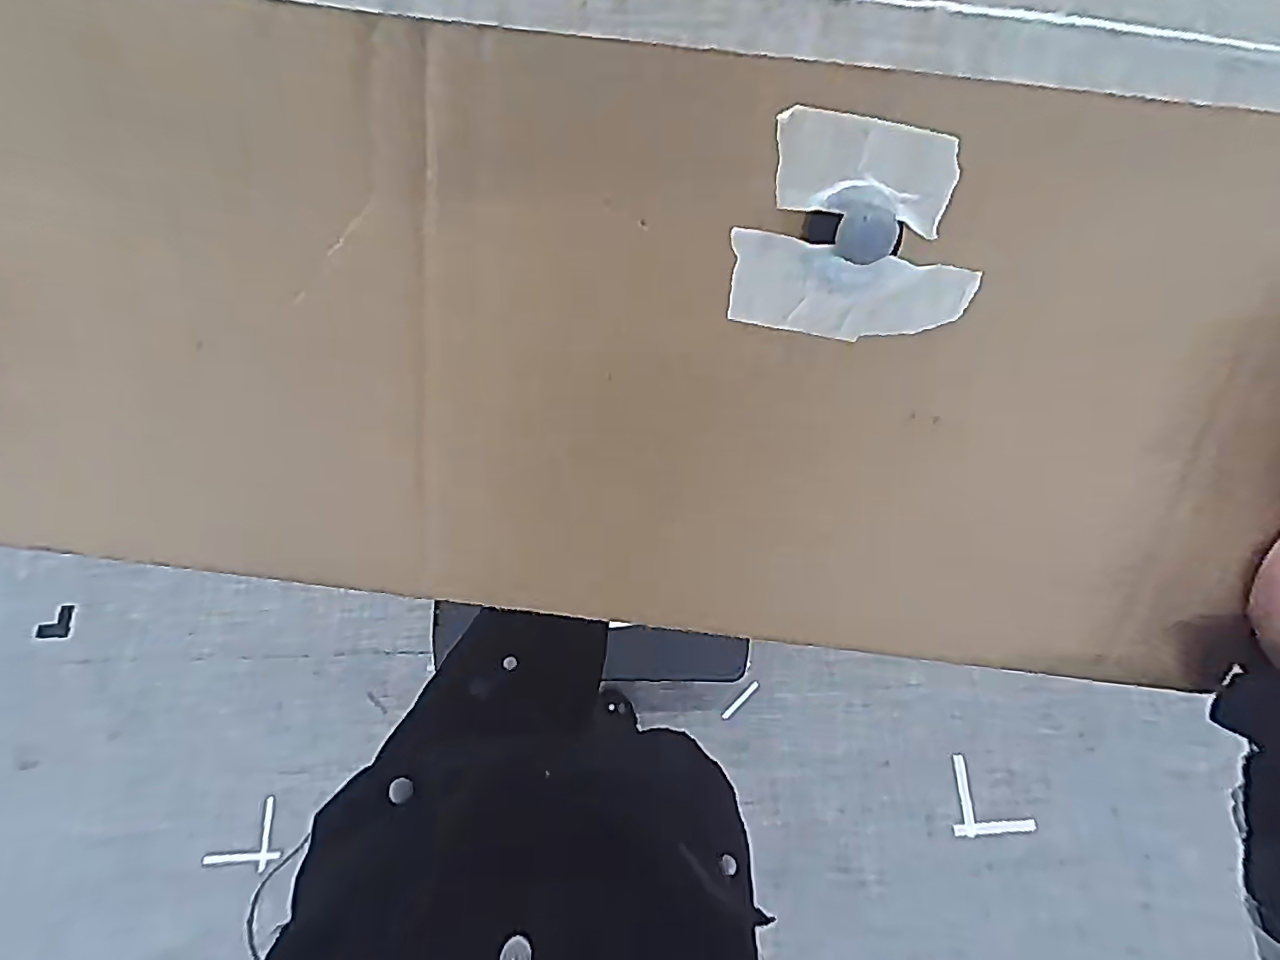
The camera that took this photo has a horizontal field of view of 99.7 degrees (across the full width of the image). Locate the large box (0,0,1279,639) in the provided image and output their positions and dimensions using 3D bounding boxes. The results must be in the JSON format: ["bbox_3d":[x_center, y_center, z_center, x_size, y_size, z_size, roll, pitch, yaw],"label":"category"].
[{"bbox_3d":[-0.005,-0.151,0.279,0.408,0.320,0.320,7,106,-1],"label":"large box"}]
